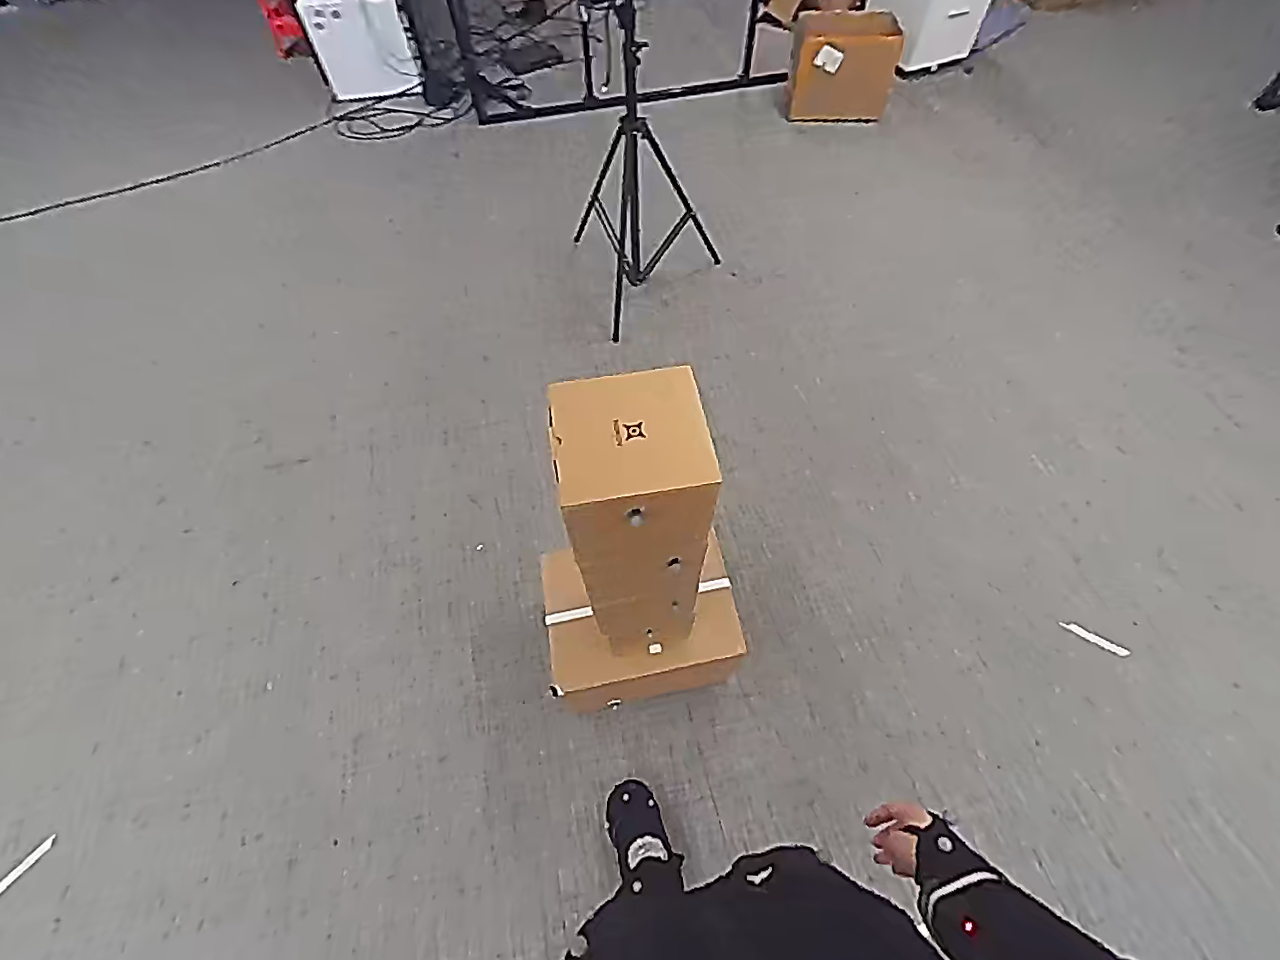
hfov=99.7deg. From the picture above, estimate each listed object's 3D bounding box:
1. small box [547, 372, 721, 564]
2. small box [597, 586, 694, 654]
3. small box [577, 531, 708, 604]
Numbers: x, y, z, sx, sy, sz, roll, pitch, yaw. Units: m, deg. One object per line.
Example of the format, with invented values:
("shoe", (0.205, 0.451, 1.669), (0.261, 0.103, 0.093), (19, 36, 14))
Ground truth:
("small box", (-0.011, -0.009, 0.674), (0.179, 0.176, 0.168), (-9, 61, -4))
("small box", (0.000, 0.240, 1.097), (0.179, 0.176, 0.168), (-12, 61, -7))
("small box", (-0.008, 0.073, 0.813), (0.179, 0.176, 0.168), (-9, 60, -4))
